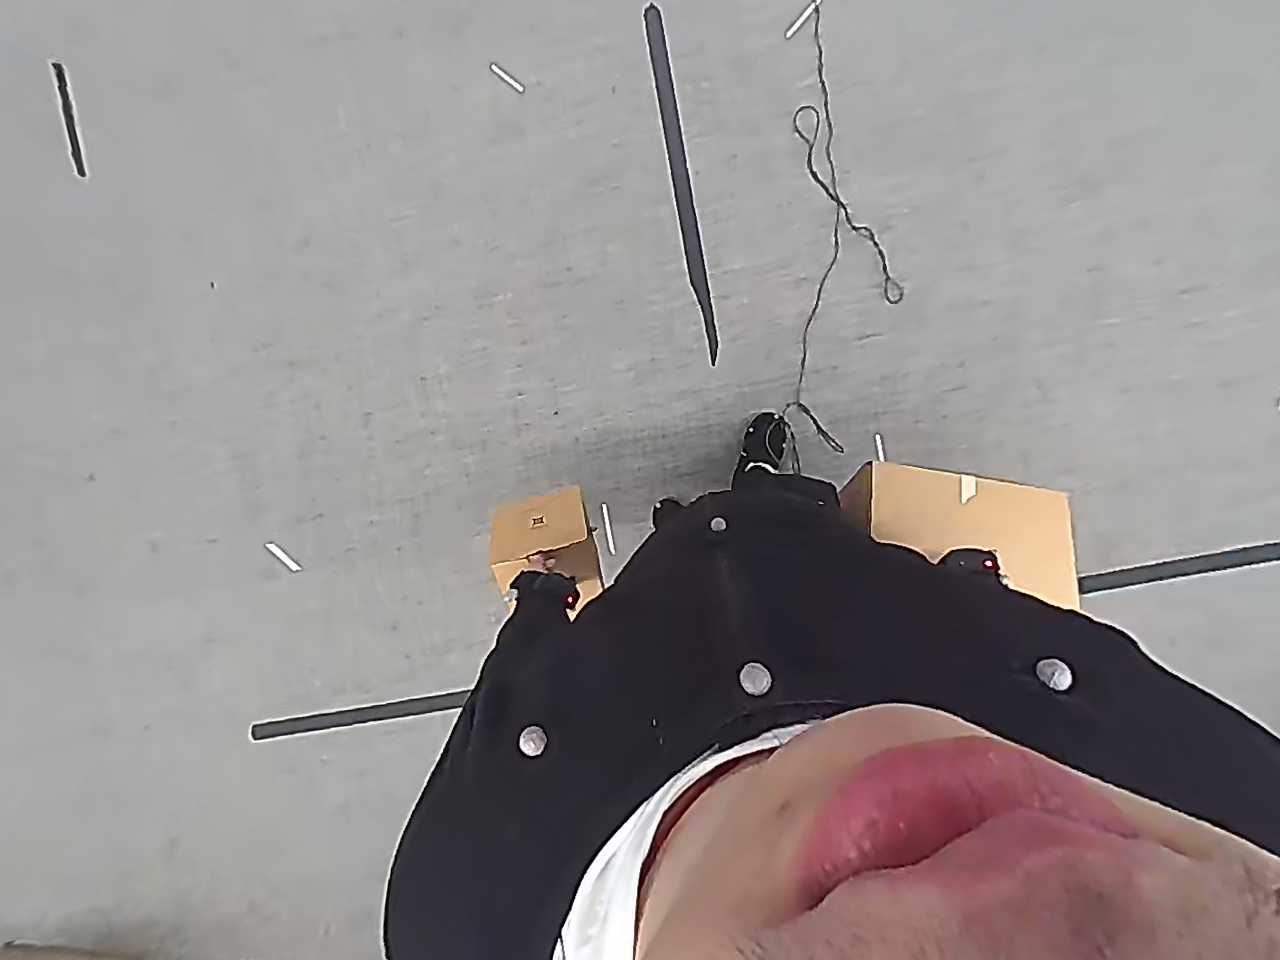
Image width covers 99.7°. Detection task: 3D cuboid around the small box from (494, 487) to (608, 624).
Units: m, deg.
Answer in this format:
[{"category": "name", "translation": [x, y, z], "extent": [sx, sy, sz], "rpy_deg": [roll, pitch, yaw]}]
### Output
[{"category": "small box", "translation": [-0.162, 0.144, 1.000], "extent": [0.168, 0.179, 0.176], "rpy_deg": [-14, 123, -4]}]
